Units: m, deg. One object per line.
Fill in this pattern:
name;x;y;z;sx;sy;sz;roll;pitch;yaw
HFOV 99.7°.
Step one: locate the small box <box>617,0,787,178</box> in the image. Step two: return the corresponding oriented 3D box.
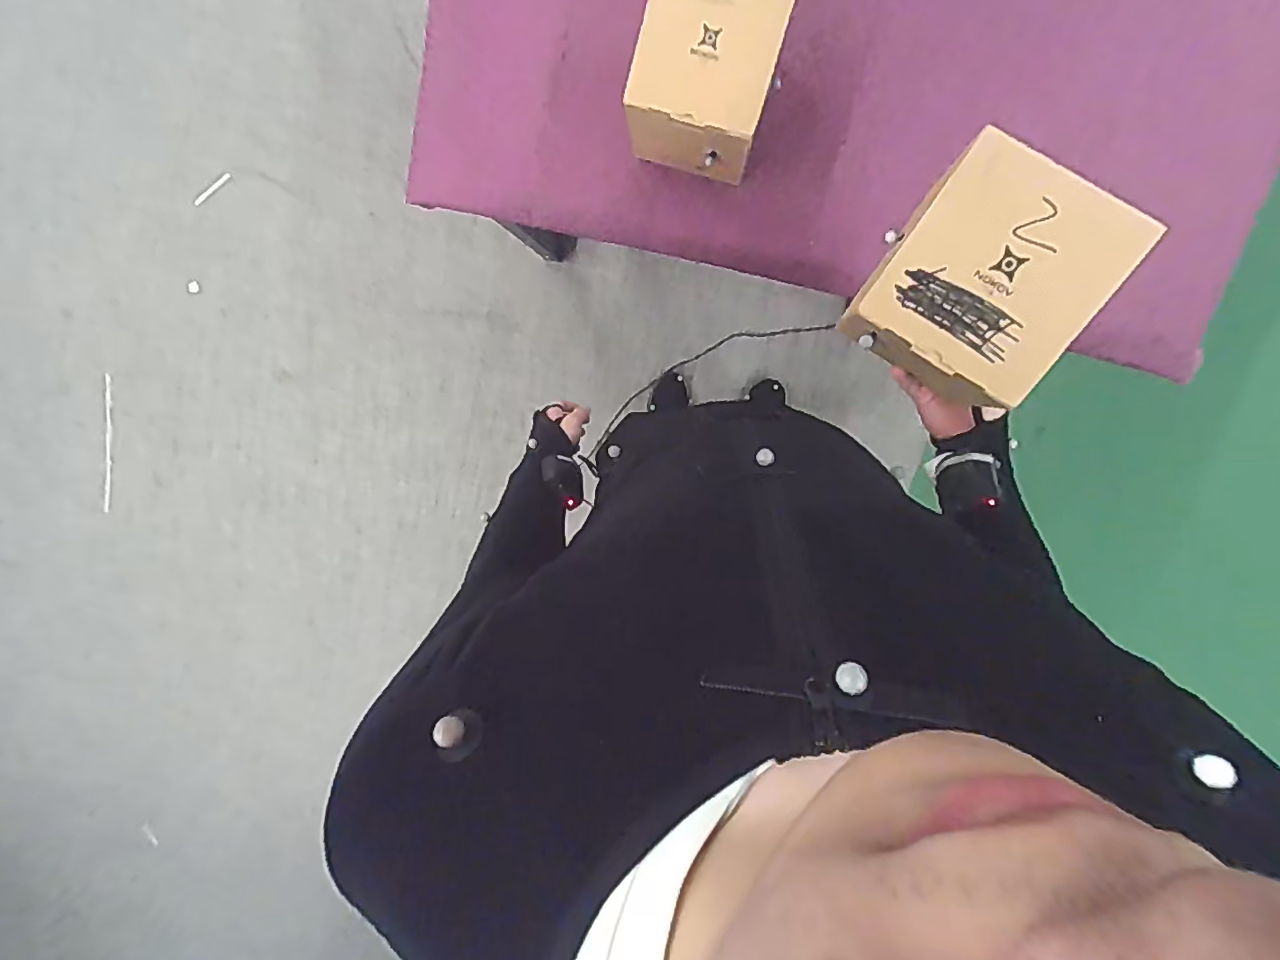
small box;0.079;-0.531;0.713;0.168;0.176;0.179;17;102;0
